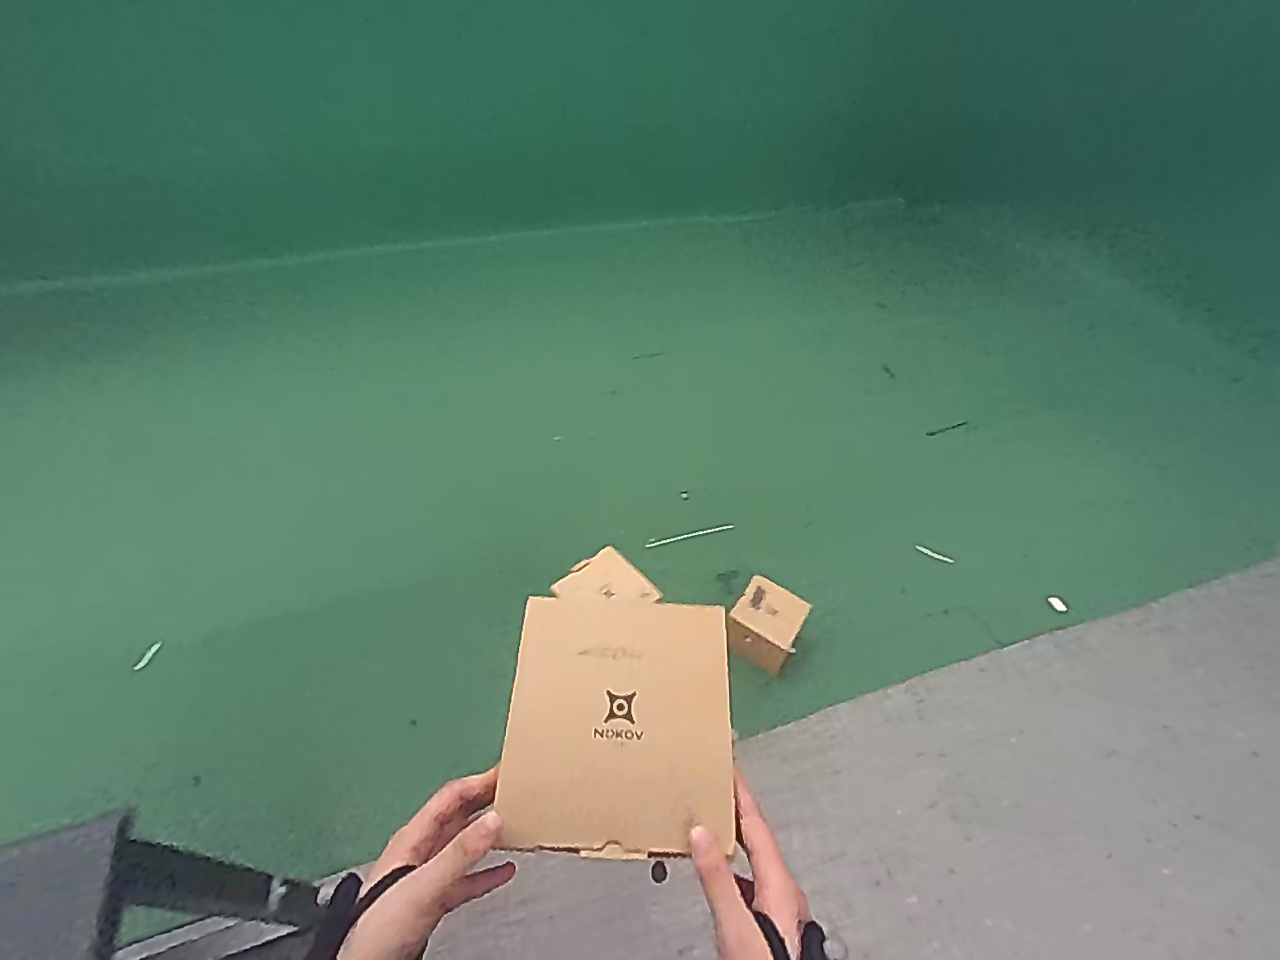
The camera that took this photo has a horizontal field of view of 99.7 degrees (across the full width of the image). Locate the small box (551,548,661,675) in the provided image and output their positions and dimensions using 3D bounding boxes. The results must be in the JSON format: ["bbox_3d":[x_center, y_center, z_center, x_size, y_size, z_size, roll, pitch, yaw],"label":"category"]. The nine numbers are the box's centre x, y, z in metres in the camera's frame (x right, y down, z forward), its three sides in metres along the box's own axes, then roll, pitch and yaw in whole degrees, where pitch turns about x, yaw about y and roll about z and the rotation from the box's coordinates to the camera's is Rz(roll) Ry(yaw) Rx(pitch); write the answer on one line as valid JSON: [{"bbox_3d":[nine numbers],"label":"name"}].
[{"bbox_3d":[-0.074,0.291,1.186,0.168,0.176,0.179,-34,57,-28],"label":"small box"}]

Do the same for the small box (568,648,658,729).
[{"bbox_3d":[-0.067,0.525,1.418,0.179,0.176,0.168,22,51,18],"label":"small box"}]

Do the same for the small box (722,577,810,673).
[{"bbox_3d":[0.350,0.414,1.530,0.179,0.176,0.168,28,53,21],"label":"small box"}]
